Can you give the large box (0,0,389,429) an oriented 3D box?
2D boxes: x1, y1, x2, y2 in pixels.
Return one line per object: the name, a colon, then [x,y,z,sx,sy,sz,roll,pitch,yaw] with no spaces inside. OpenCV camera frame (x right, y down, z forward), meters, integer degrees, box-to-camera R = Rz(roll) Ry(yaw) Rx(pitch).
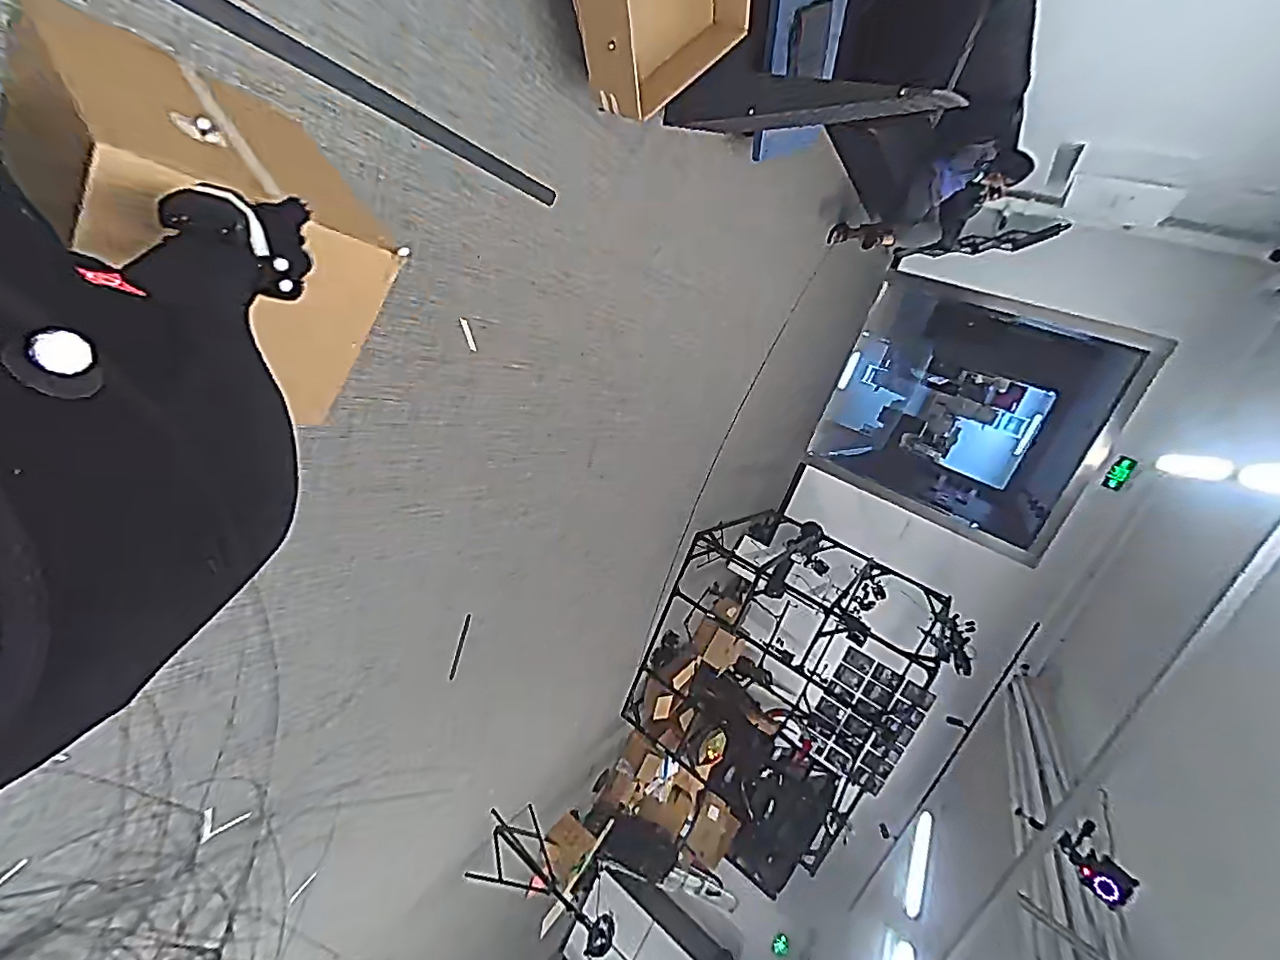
large box: [-0.637,-0.321,0.741,0.320,0.408,0.320,-50,158,23]
